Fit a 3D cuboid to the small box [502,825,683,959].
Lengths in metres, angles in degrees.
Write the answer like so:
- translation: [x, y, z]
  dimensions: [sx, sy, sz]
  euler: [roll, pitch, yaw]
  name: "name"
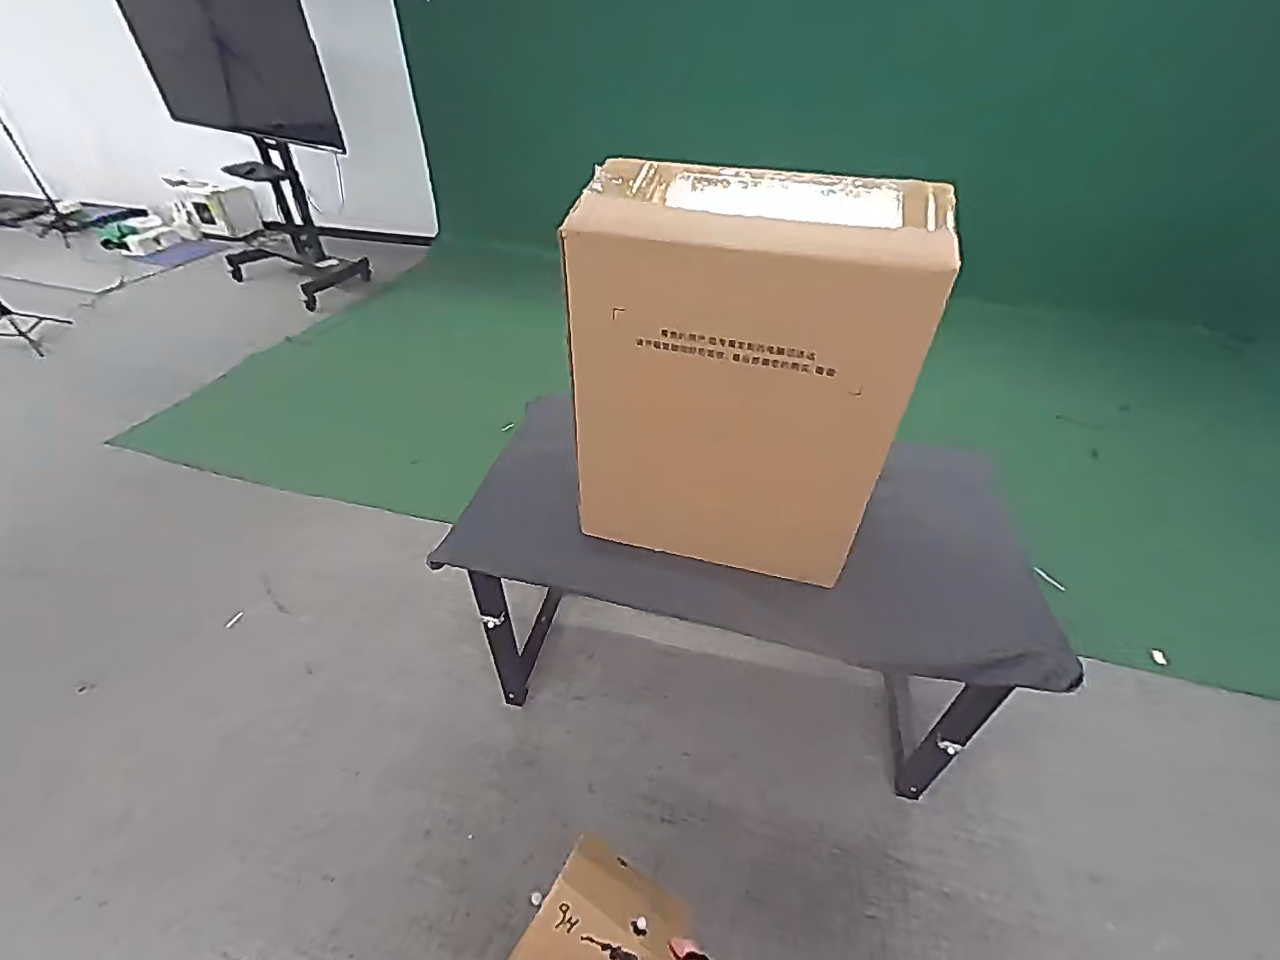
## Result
- translation: [-0.058, 0.555, 0.630]
  dimensions: [0.168, 0.176, 0.179]
  euler: [31, 80, 13]
  name: "small box"
